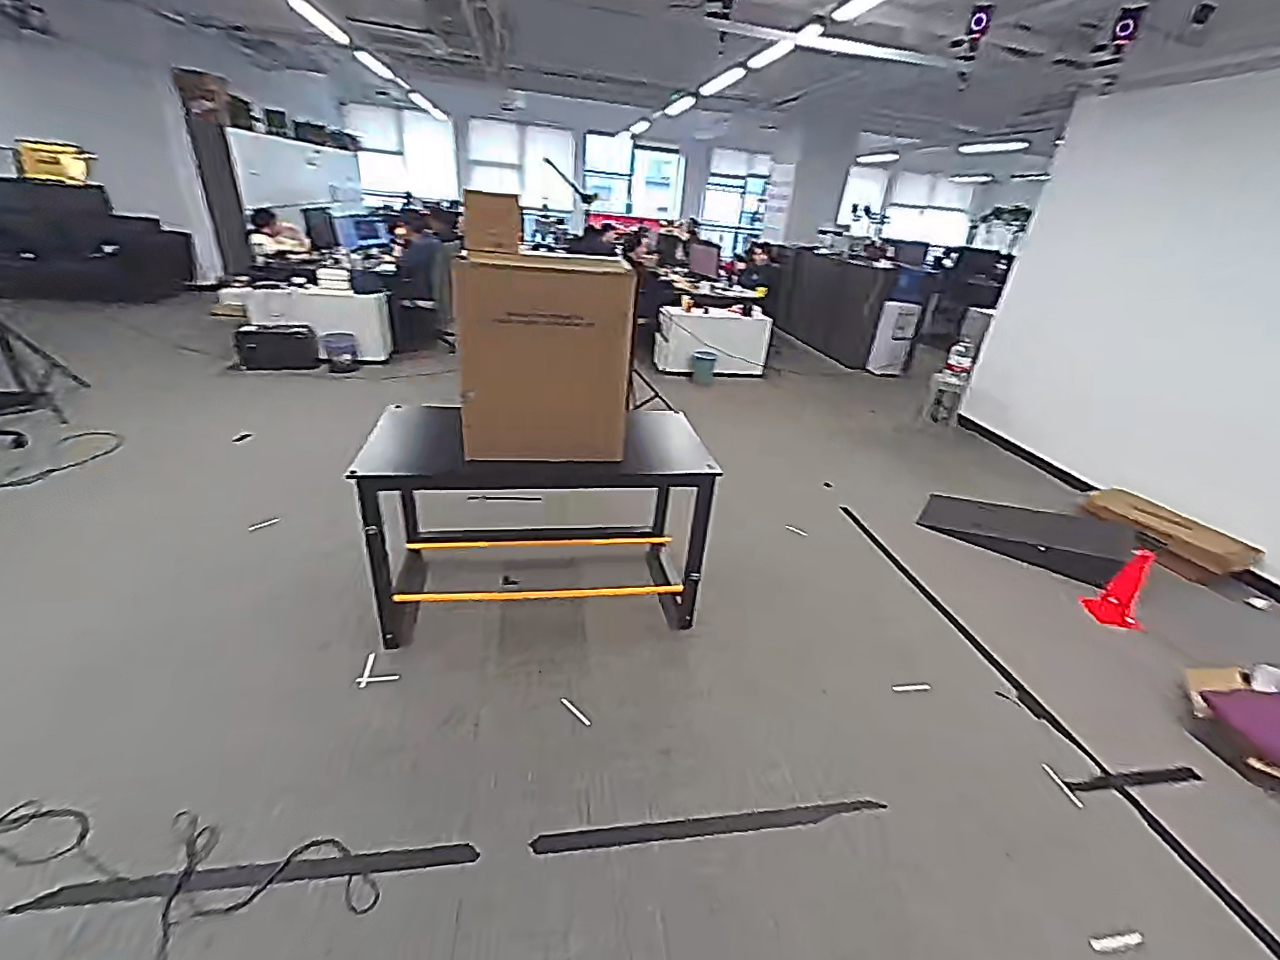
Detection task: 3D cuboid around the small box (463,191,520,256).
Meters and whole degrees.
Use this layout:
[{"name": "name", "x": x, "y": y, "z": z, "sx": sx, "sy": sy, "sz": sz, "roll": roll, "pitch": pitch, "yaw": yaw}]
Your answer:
[{"name": "small box", "x": -0.468, "y": -0.815, "z": 1.721, "sx": 0.168, "sy": 0.176, "sz": 0.179, "roll": -1, "pitch": 26, "yaw": -13}]
